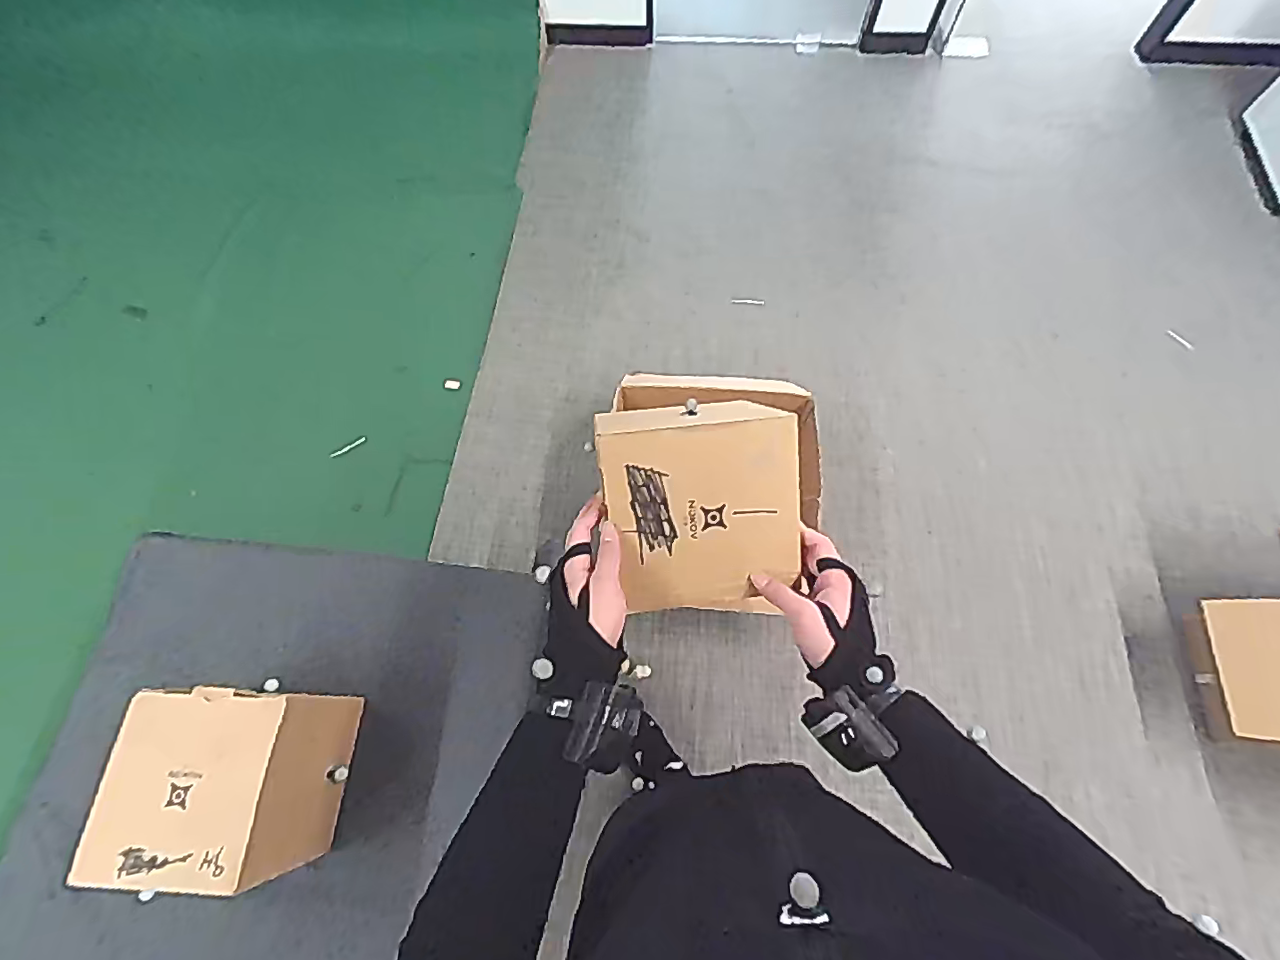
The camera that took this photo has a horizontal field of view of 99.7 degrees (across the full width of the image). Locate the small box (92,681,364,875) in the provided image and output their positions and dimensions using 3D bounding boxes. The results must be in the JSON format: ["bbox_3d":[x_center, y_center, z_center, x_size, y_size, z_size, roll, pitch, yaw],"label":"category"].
[{"bbox_3d":[-0.451,0.334,0.631,0.168,0.176,0.179,1,67,0],"label":"small box"}]

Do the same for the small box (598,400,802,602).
[{"bbox_3d":[0.047,0.010,0.551,0.179,0.176,0.168,-2,104,-5],"label":"small box"}]
